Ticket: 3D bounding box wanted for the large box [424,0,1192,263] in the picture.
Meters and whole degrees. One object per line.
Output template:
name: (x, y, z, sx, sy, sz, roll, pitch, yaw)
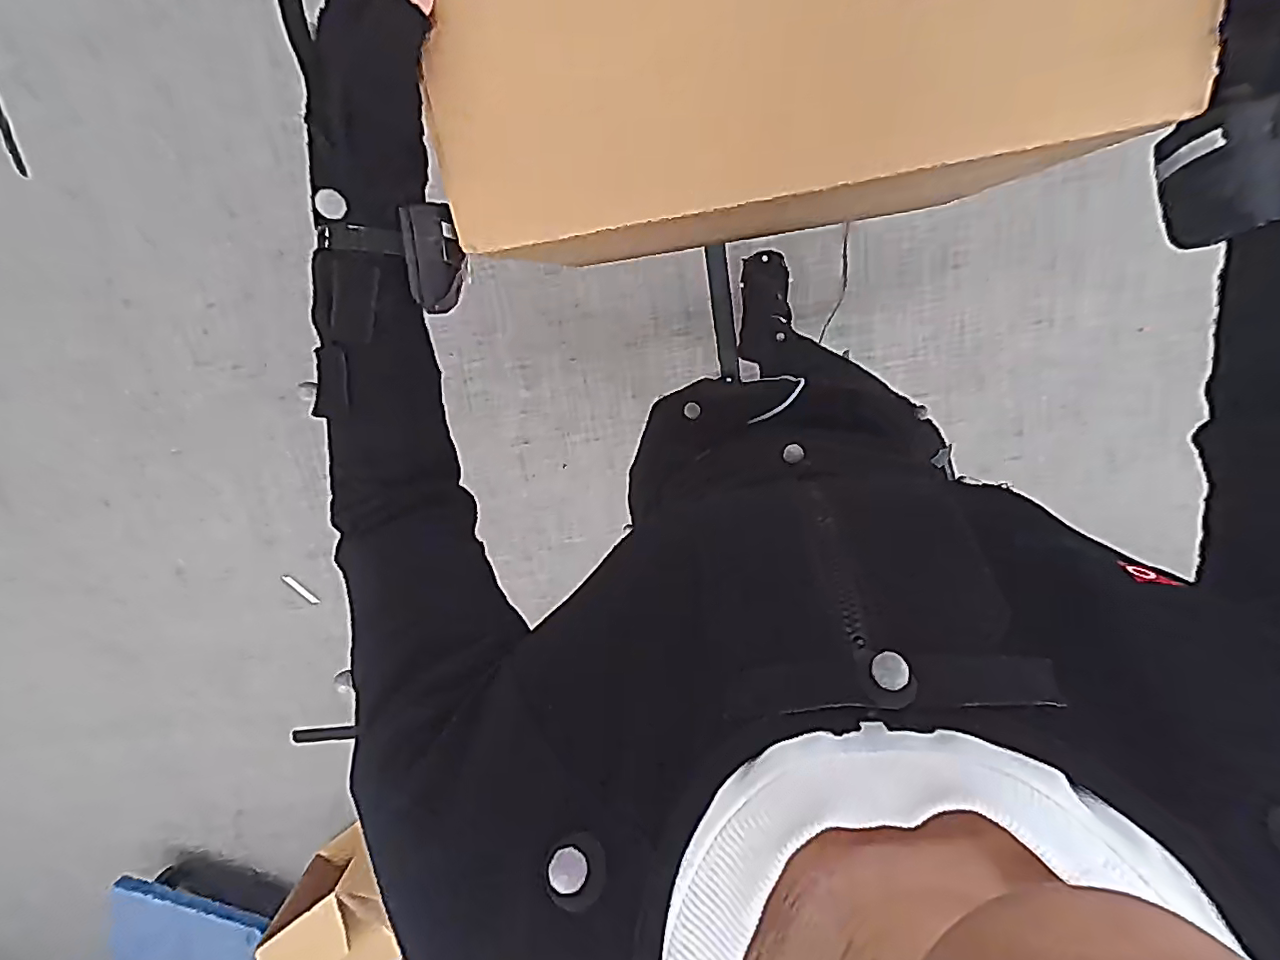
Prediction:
large box: (0.081, -0.370, 0.410, 0.408, 0.320, 0.320, -7, 109, 9)
